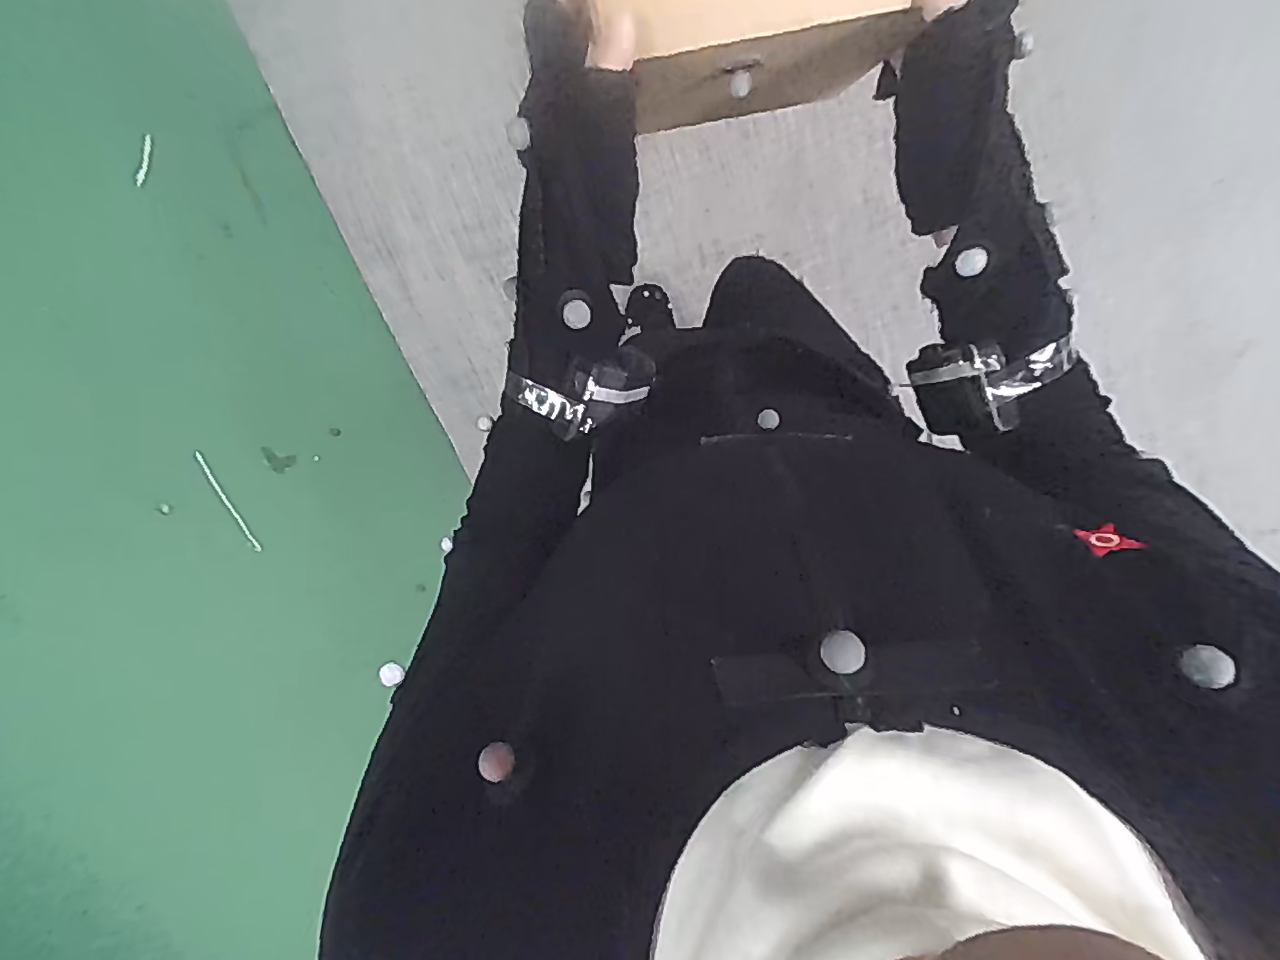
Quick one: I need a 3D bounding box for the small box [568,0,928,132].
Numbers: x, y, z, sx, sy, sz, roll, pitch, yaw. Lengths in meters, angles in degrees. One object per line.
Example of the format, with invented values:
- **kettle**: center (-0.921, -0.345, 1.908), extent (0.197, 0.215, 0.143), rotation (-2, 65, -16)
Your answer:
- **small box**: center (0.043, -0.315, 0.300), extent (0.179, 0.176, 0.168), rotation (-9, 112, 2)
